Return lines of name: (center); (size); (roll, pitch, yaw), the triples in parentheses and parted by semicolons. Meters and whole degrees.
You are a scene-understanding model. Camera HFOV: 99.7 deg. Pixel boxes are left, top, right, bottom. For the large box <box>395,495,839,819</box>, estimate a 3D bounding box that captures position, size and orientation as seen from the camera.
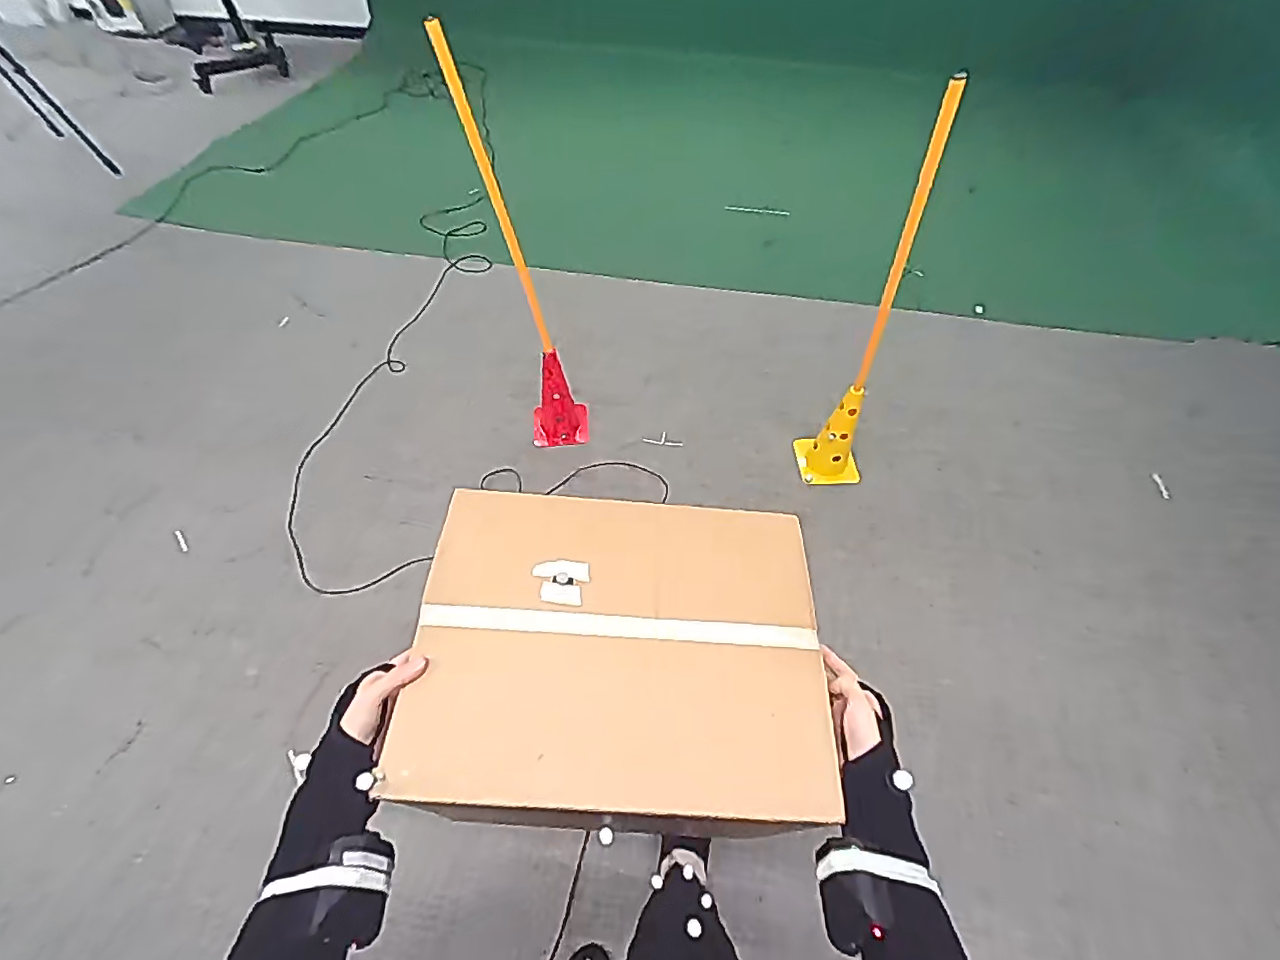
large box: (-0.021, 0.238, 0.685); (0.408, 0.320, 0.320); (4, 54, -1)
